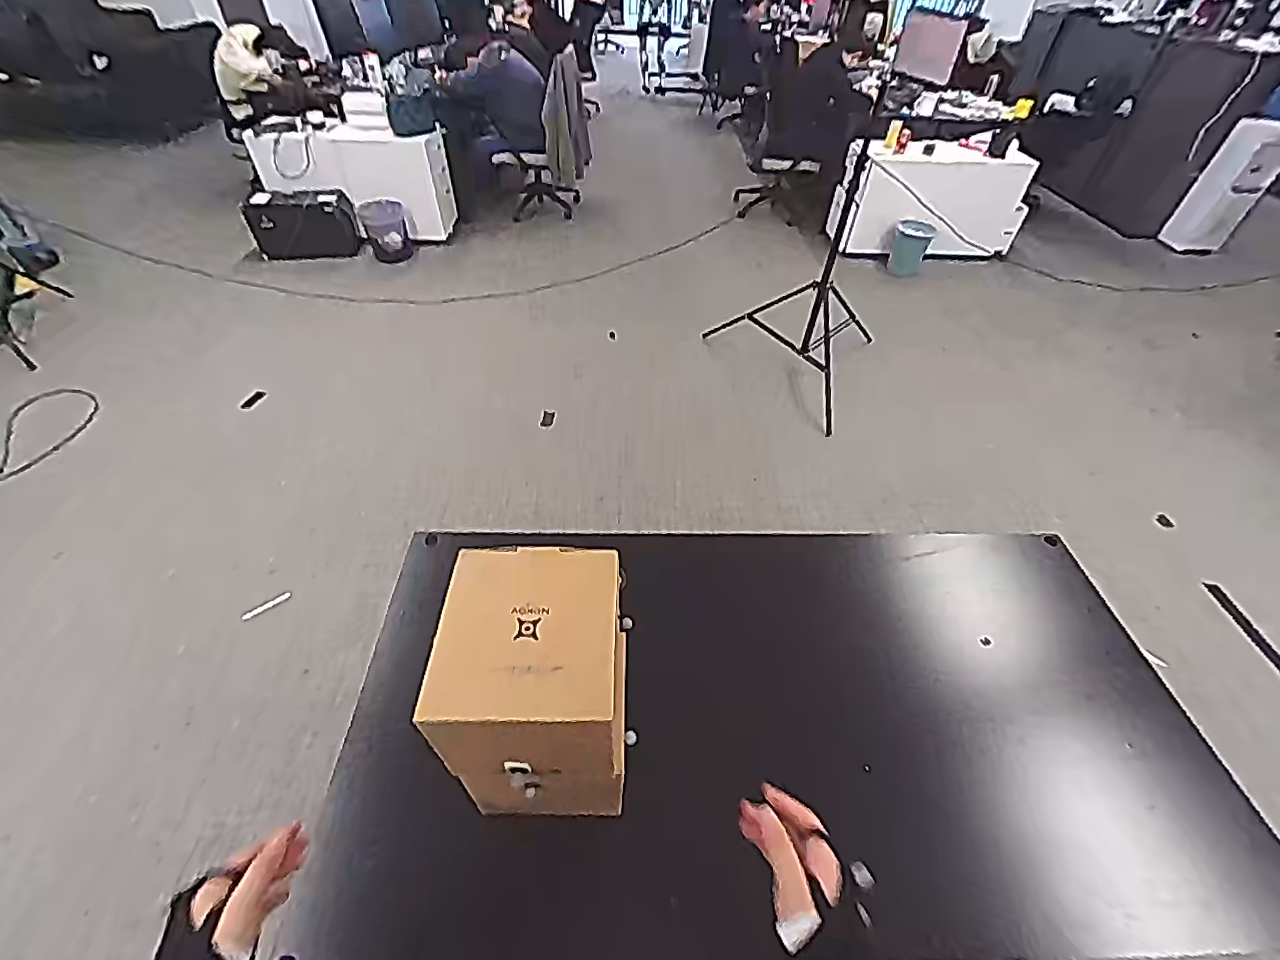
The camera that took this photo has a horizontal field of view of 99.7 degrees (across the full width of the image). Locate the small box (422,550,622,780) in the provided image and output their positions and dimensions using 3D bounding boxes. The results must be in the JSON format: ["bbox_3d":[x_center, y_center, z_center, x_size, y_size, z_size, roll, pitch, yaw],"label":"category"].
[{"bbox_3d":[-0.104,0.192,0.564,0.168,0.176,0.179,0,46,-1],"label":"small box"}]

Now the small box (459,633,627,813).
[{"bbox_3d":[-0.107,0.305,0.680,0.179,0.176,0.168,2,45,-2],"label":"small box"}]
